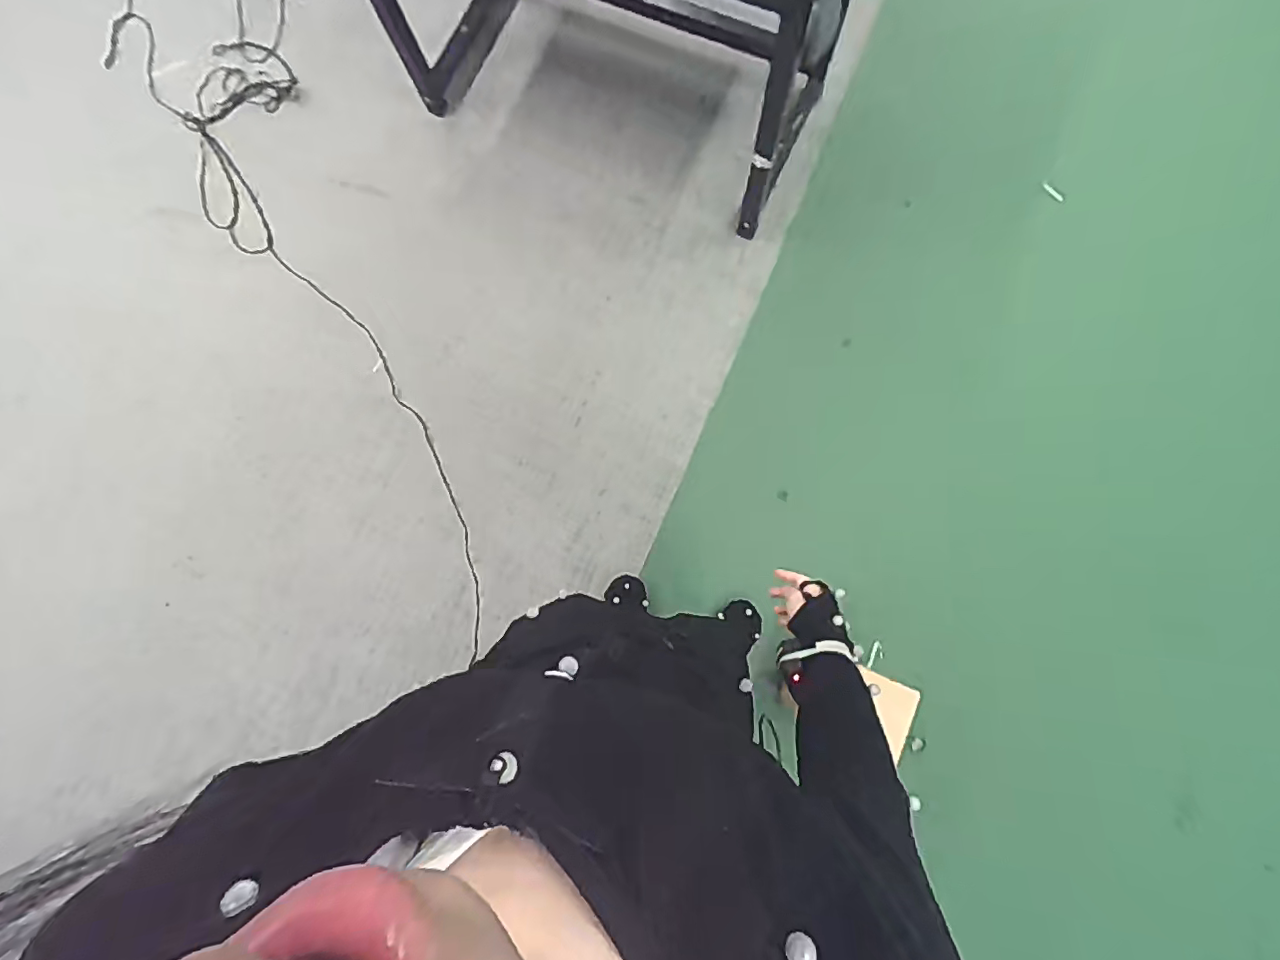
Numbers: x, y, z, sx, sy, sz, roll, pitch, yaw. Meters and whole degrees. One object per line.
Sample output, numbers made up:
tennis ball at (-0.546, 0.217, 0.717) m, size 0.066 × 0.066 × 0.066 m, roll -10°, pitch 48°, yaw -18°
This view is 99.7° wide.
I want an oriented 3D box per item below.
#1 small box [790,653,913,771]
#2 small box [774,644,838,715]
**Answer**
small box at (0.457, 0.499, 1.192) m, size 0.179 × 0.176 × 0.168 m, roll 23°, pitch 82°, yaw 5°
small box at (0.459, 0.525, 1.352) m, size 0.179 × 0.176 × 0.168 m, roll 24°, pitch 81°, yaw 5°
